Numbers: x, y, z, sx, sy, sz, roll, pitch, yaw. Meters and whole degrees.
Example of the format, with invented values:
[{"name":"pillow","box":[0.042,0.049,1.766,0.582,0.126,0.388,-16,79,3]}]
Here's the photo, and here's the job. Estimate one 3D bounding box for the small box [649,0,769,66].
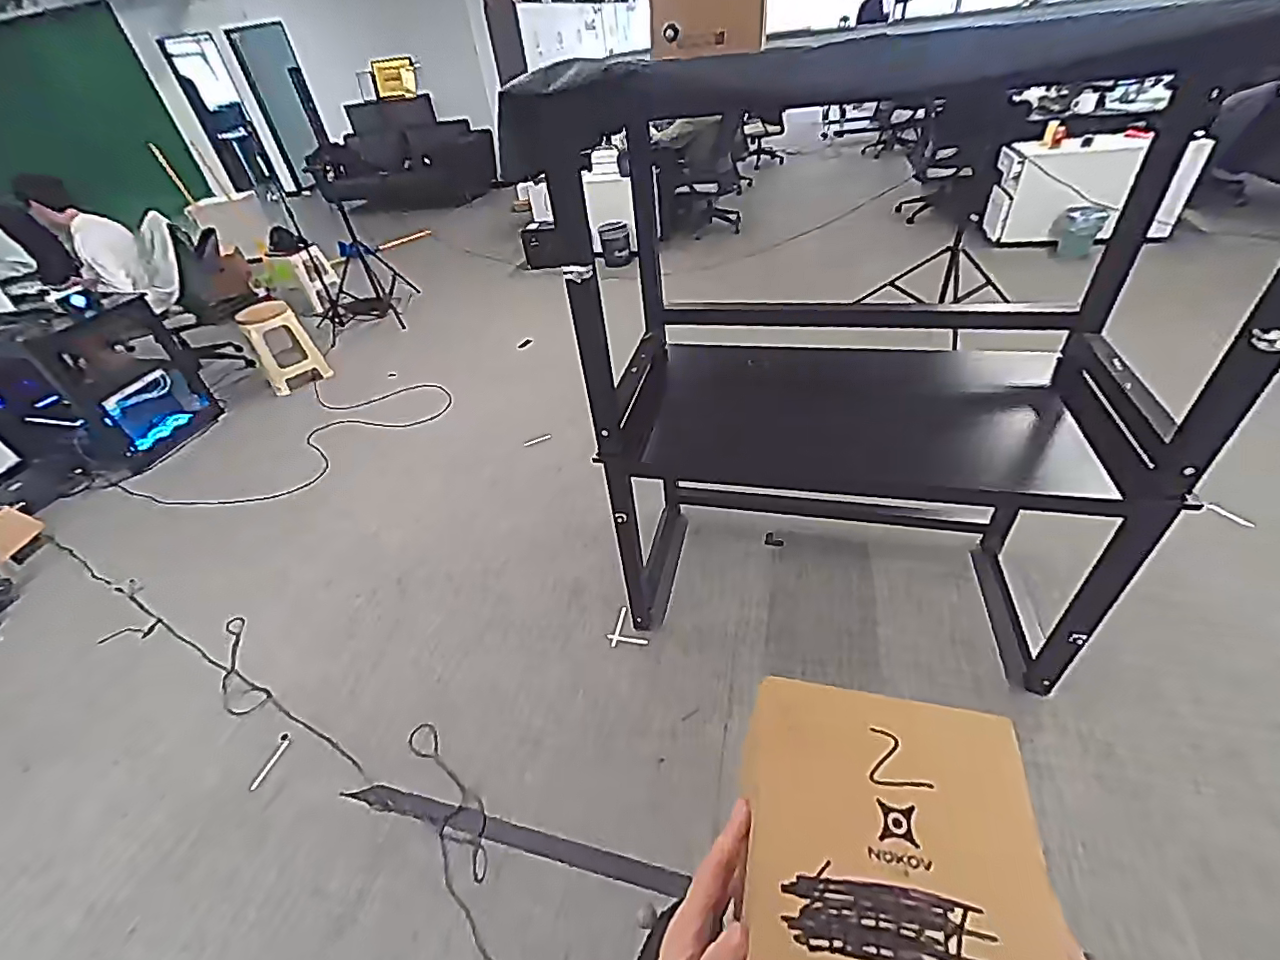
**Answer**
[{"name":"small box","box":[0.107,-0.734,0.809,0.168,0.176,0.179,4,39,12]}]
